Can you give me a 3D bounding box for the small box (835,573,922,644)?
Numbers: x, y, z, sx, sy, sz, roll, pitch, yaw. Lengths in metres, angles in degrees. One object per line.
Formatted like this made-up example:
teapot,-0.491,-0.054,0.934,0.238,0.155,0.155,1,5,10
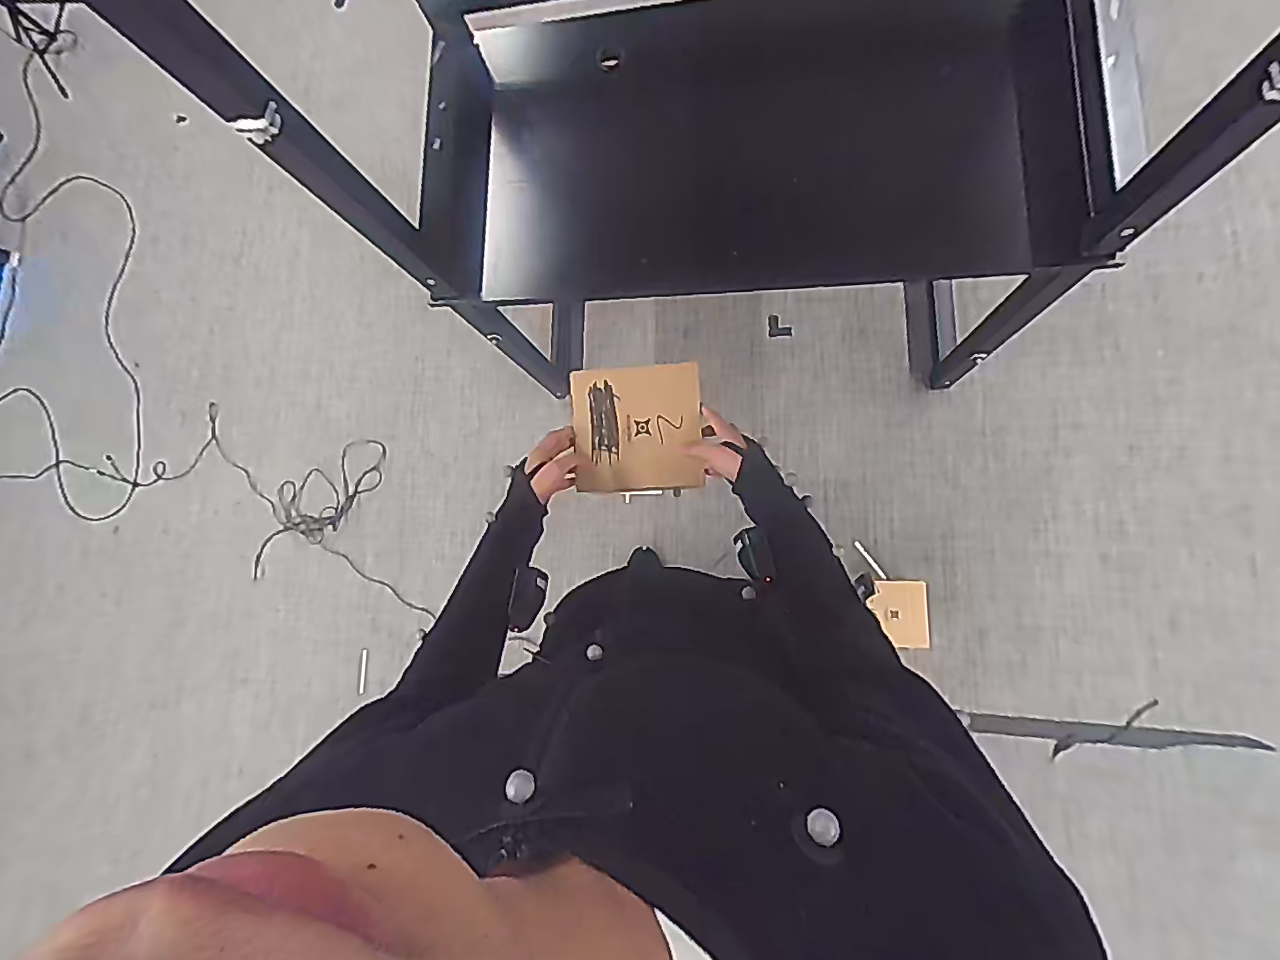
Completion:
small box,0.632,0.338,1.448,0.179,0.176,0.168,-1,83,10
